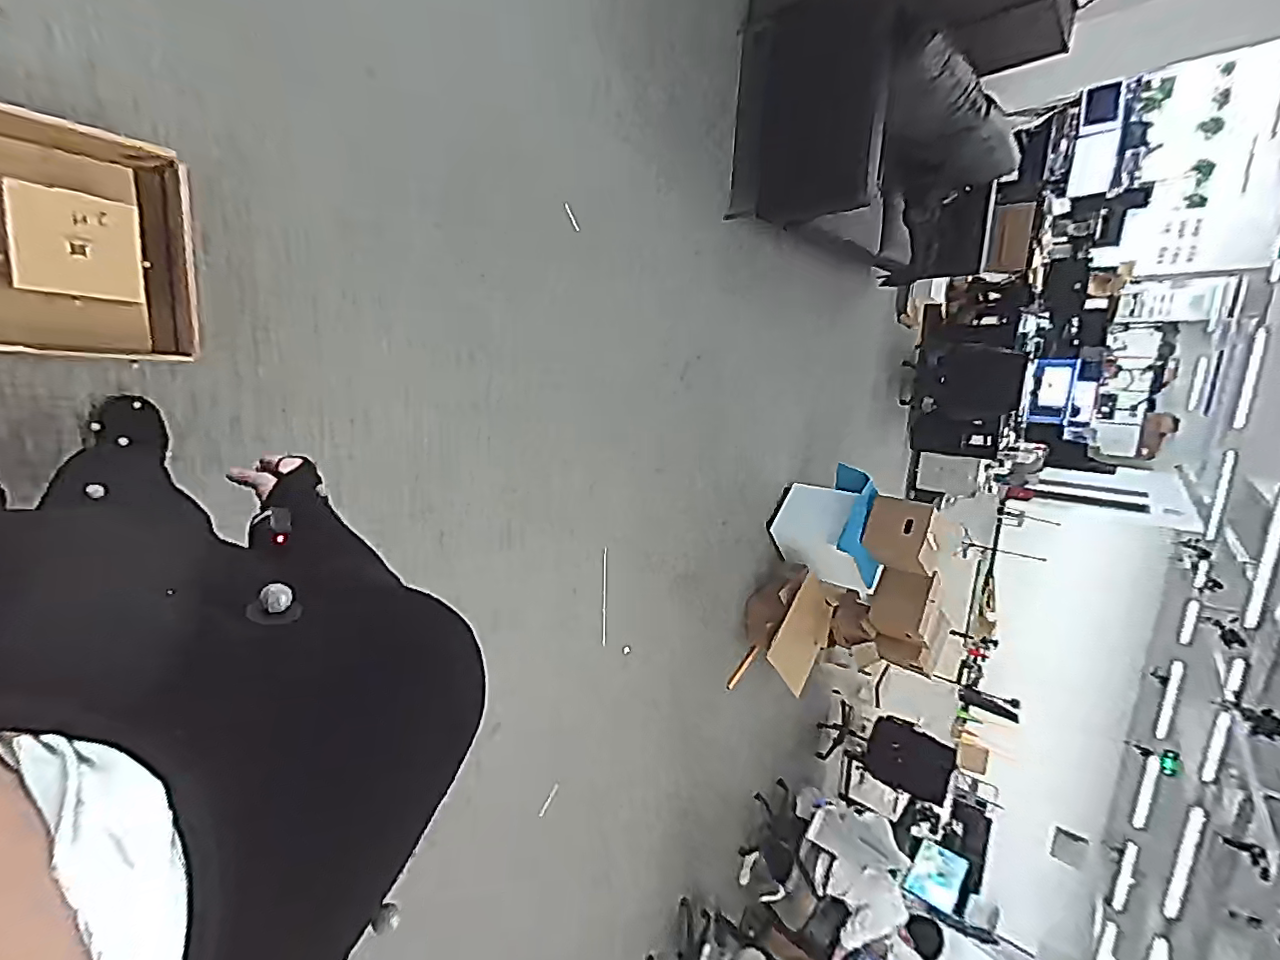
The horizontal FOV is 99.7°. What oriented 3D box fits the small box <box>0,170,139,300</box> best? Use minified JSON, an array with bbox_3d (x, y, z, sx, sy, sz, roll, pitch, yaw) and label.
[{"bbox_3d":[-1.043,-0.434,0.992,0.168,0.176,0.179,-6,104,-48],"label":"small box"}]
